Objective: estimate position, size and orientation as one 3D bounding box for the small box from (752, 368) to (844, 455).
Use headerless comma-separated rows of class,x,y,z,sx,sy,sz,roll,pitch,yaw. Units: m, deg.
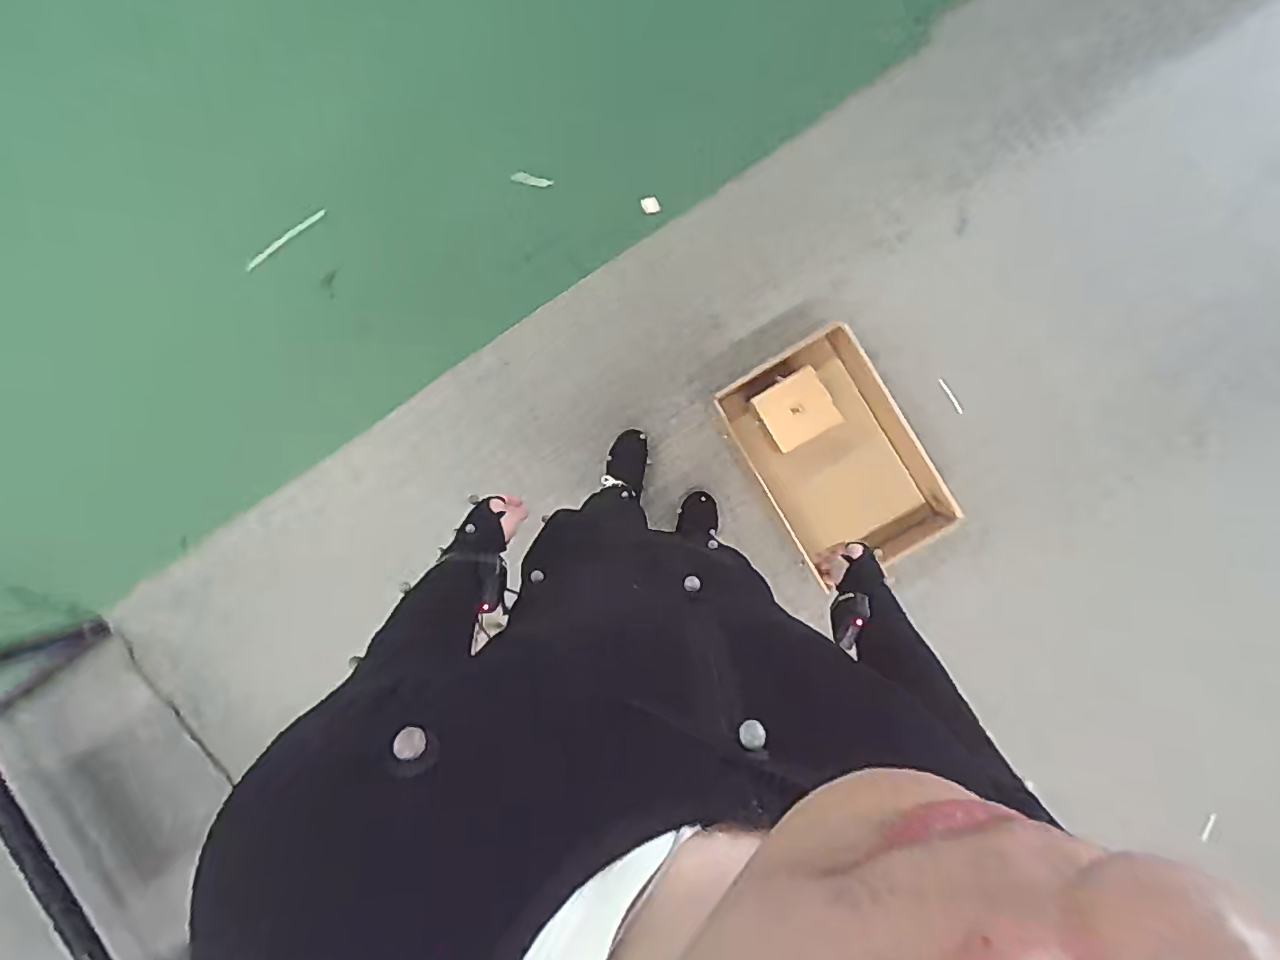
small box,0.413,-0.175,1.455,0.179,0.176,0.168,-30,89,5
